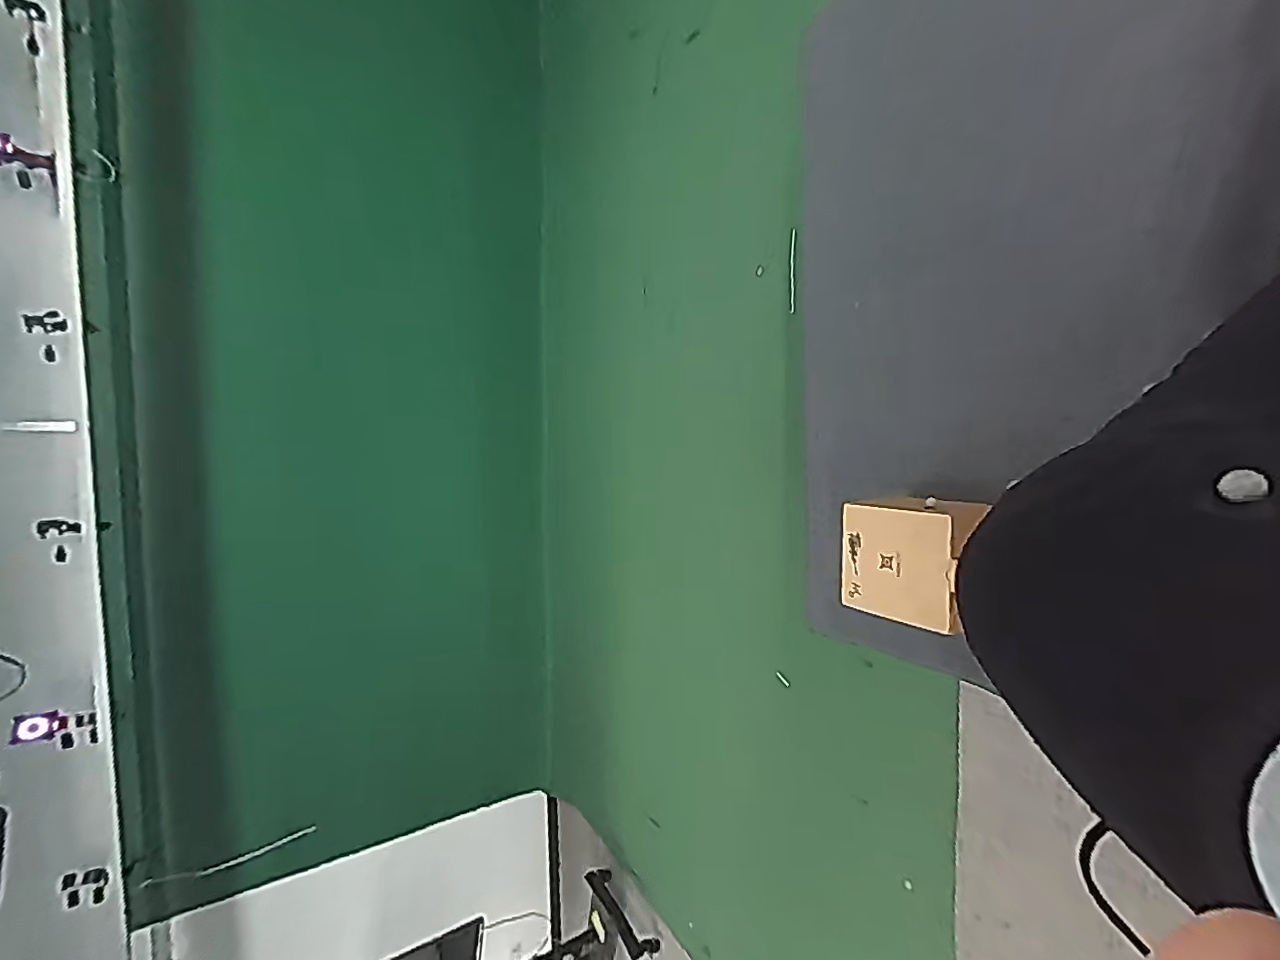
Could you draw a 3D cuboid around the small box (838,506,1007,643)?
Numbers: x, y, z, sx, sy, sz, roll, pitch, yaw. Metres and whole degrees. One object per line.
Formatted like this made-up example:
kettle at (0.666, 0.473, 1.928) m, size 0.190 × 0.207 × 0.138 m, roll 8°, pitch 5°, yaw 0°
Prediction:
small box at (0.432, 0.131, 0.829) m, size 0.179 × 0.176 × 0.168 m, roll 6°, pitch 96°, yaw 57°
